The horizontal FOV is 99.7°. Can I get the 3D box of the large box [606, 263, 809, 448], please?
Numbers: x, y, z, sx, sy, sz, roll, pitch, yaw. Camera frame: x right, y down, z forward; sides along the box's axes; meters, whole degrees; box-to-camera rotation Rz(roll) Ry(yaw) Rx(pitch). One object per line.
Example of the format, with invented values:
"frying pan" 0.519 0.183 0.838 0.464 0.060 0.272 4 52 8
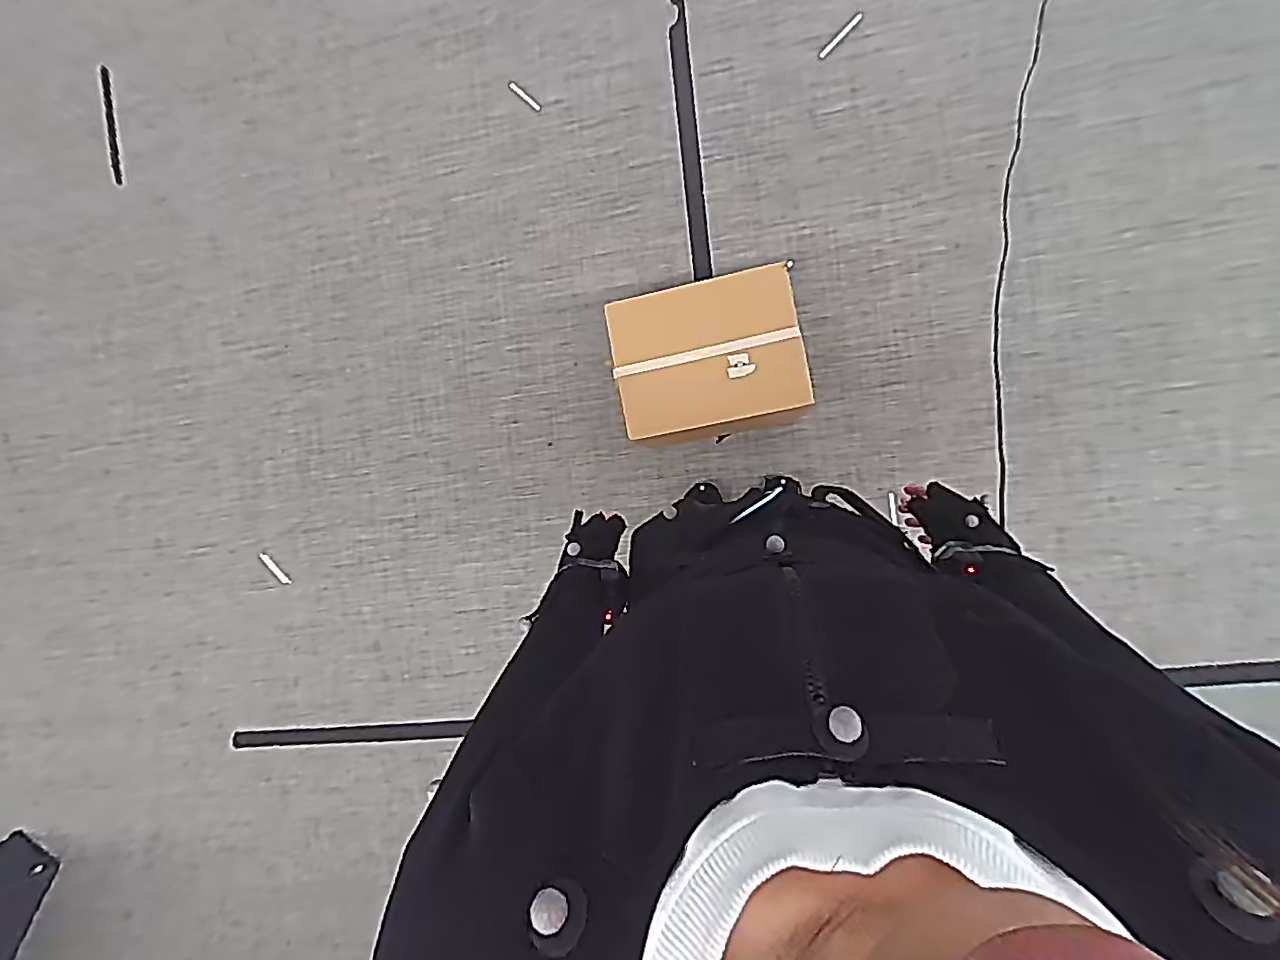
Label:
"large box" 0.162 -0.278 1.334 0.408 0.320 0.320 -11 88 8
